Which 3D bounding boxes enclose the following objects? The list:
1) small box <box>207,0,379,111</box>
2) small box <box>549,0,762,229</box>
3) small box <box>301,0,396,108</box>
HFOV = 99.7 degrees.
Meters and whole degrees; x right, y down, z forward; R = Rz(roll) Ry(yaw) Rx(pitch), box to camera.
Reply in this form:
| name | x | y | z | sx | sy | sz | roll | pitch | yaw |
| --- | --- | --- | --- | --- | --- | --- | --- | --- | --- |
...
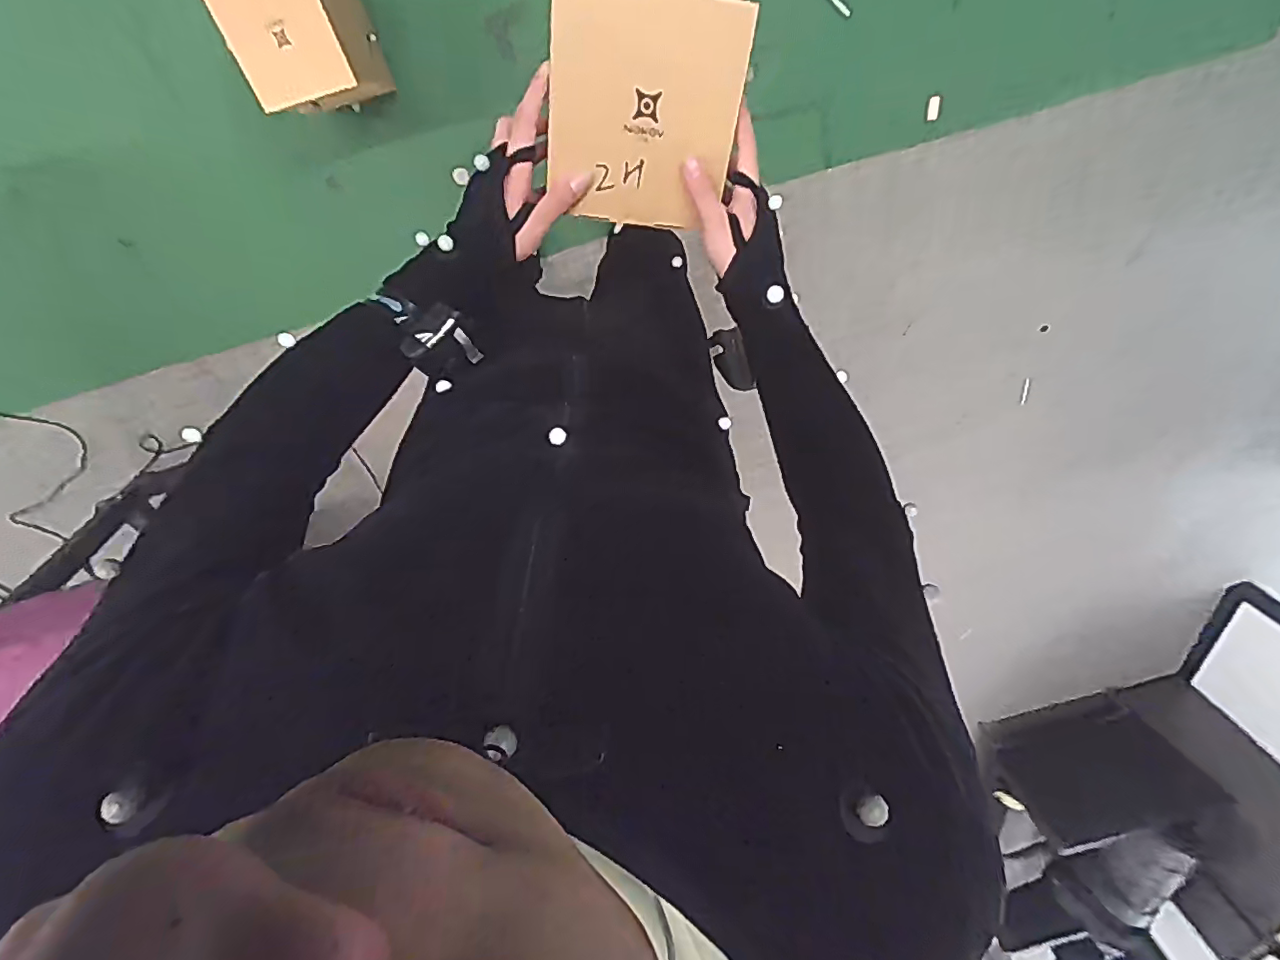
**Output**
| name | x | y | z | sx | sy | sz | roll | pitch | yaw |
| --- | --- | --- | --- | --- | --- | --- | --- | --- | --- |
| small box | -0.574 | -0.750 | 0.912 | 0.168 | 0.176 | 0.179 | -16 | 125 | 2 |
| small box | -0.002 | -0.367 | 0.528 | 0.168 | 0.176 | 0.179 | 3 | 128 | -9 |
| small box | -0.601 | -0.841 | 1.042 | 0.168 | 0.176 | 0.179 | -16 | 127 | 1 |
